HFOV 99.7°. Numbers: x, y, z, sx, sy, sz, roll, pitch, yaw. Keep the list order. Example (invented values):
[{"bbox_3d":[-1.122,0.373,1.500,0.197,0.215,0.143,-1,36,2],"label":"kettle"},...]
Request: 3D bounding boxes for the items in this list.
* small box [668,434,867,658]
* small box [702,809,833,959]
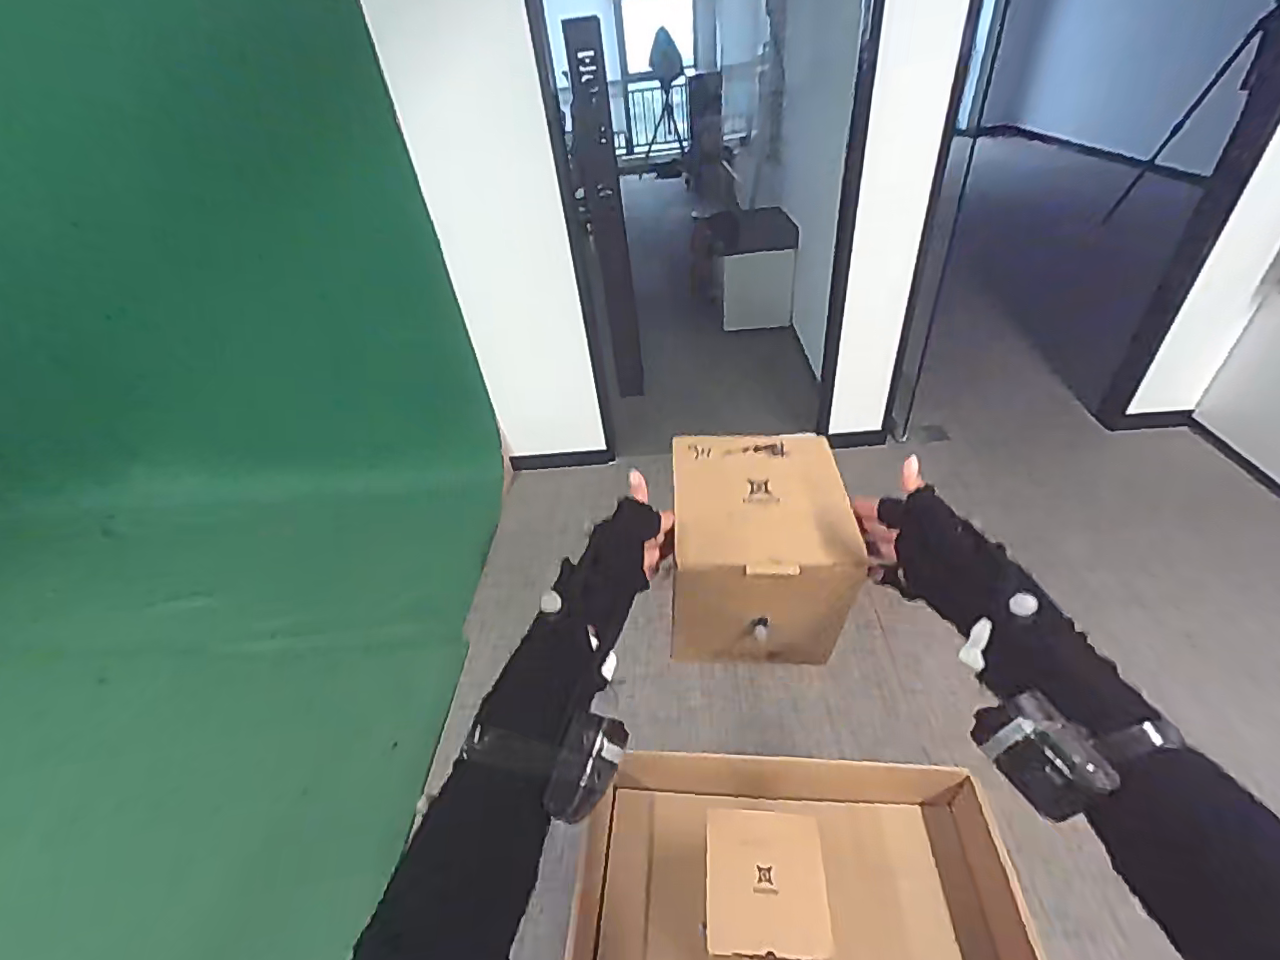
[{"bbox_3d":[0.115,0.070,0.566,0.168,0.176,0.179,1,44,2],"label":"small box"},{"bbox_3d":[0.177,0.623,0.803,0.168,0.176,0.179,0,37,6],"label":"small box"}]
